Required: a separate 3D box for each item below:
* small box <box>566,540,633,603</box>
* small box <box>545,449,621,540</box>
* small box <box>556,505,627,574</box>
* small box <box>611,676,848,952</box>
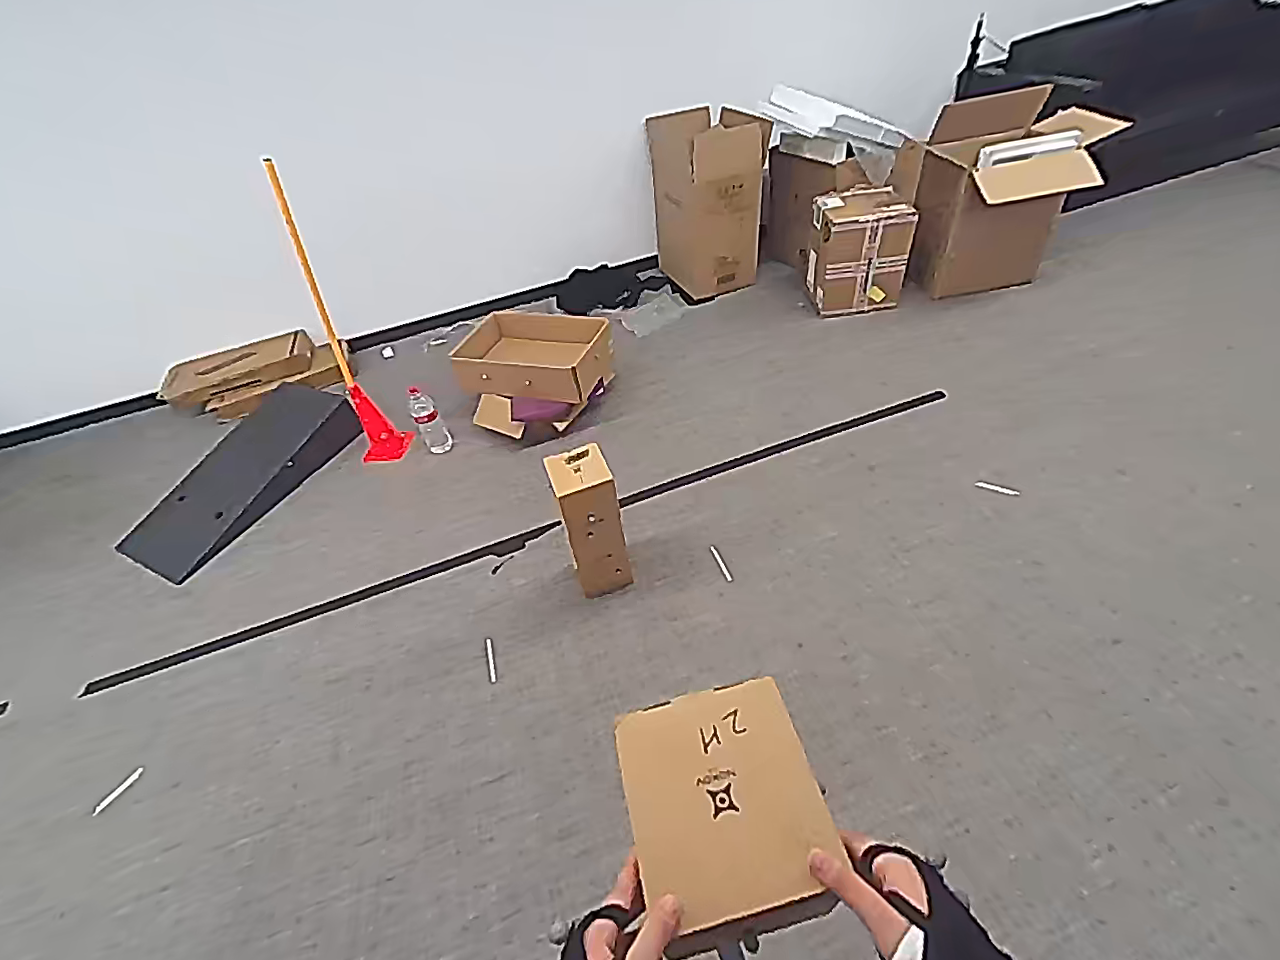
[{"bbox_3d":[-0.130,0.279,1.811,0.179,0.176,0.168,-19,44,-8],"label":"small box"},{"bbox_3d":[-0.167,0.043,1.585,0.168,0.176,0.179,-19,45,-10],"label":"small box"},{"bbox_3d":[-0.150,0.162,1.697,0.168,0.176,0.179,-20,43,-10],"label":"small box"},{"bbox_3d":[0.078,0.327,0.526,0.168,0.176,0.179,-14,43,-4],"label":"small box"}]
